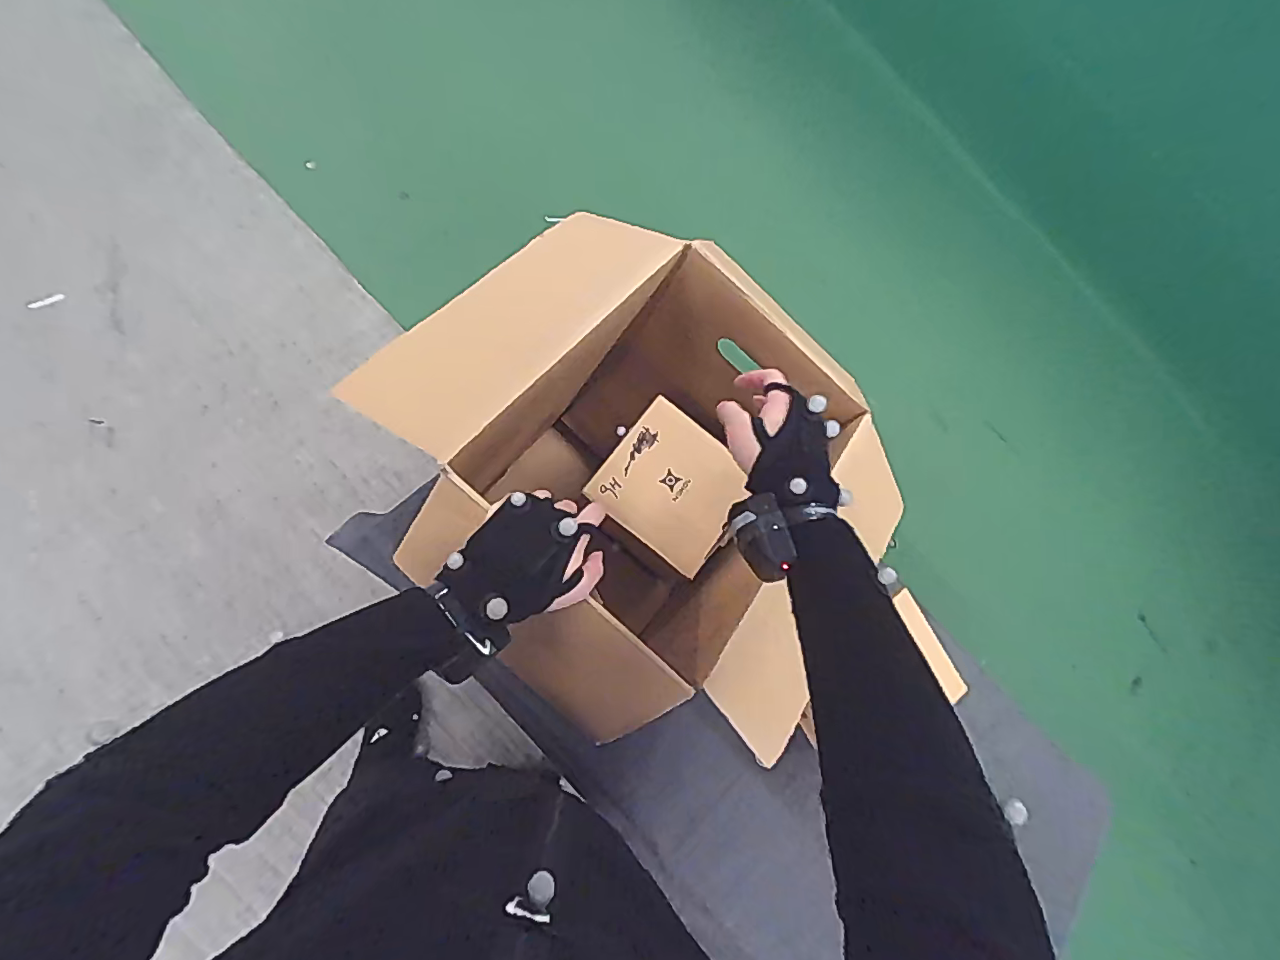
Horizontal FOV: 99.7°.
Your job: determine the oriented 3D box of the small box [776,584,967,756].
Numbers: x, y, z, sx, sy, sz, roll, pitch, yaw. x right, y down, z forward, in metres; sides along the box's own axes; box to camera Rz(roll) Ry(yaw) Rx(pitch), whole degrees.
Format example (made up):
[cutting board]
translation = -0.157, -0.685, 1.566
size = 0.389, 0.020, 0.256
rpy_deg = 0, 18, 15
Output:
[small box]
translation = 0.331, 0.278, 0.812
size = 0.179, 0.176, 0.168
rpy_deg = -26, 84, -27
